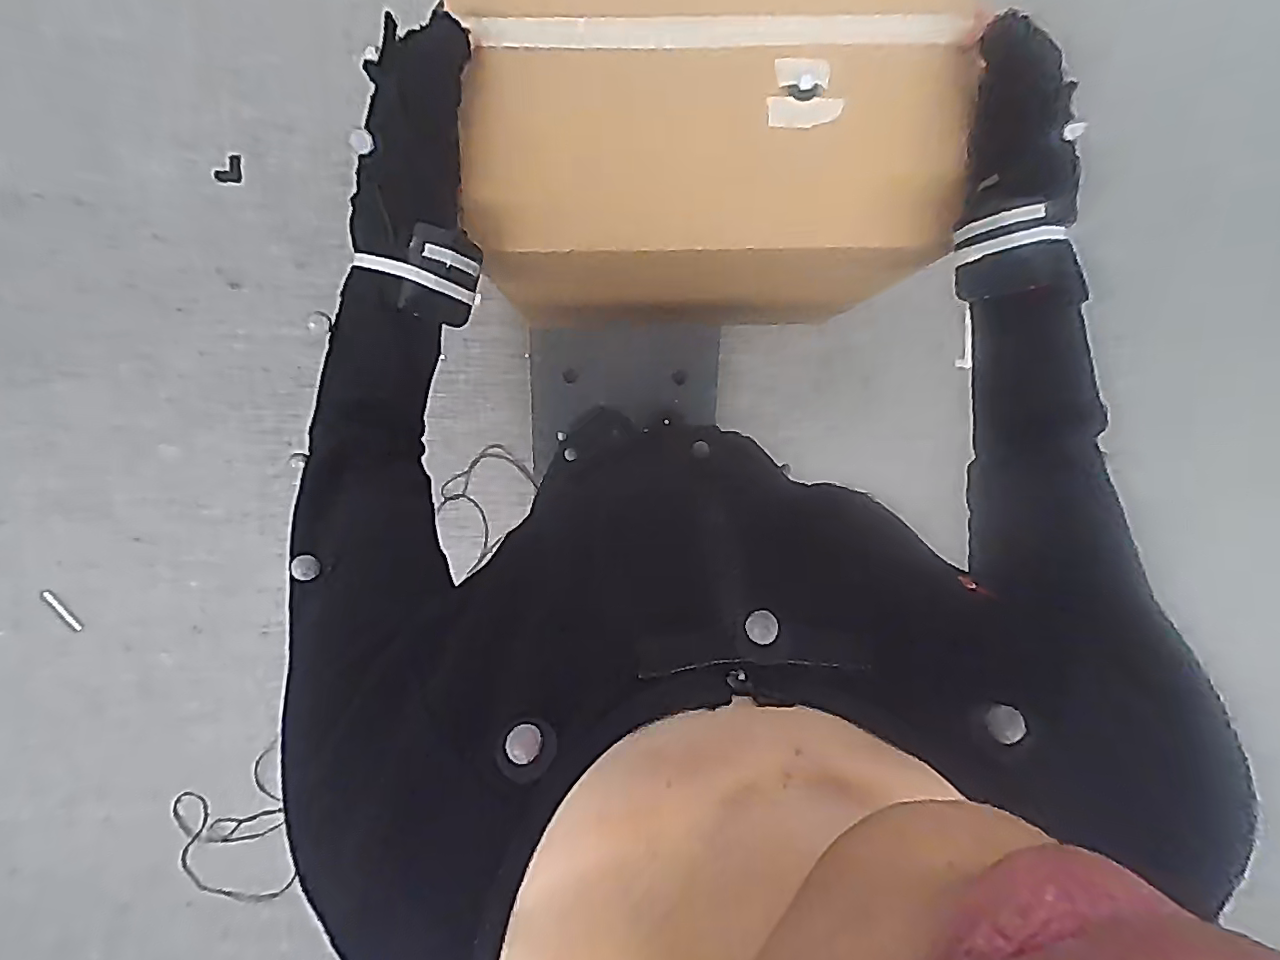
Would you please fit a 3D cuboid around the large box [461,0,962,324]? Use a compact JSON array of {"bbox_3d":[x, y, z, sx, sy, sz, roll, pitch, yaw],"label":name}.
[{"bbox_3d":[0.054,-0.360,0.578,0.408,0.320,0.320,-2,95,-2],"label":"large box"}]
